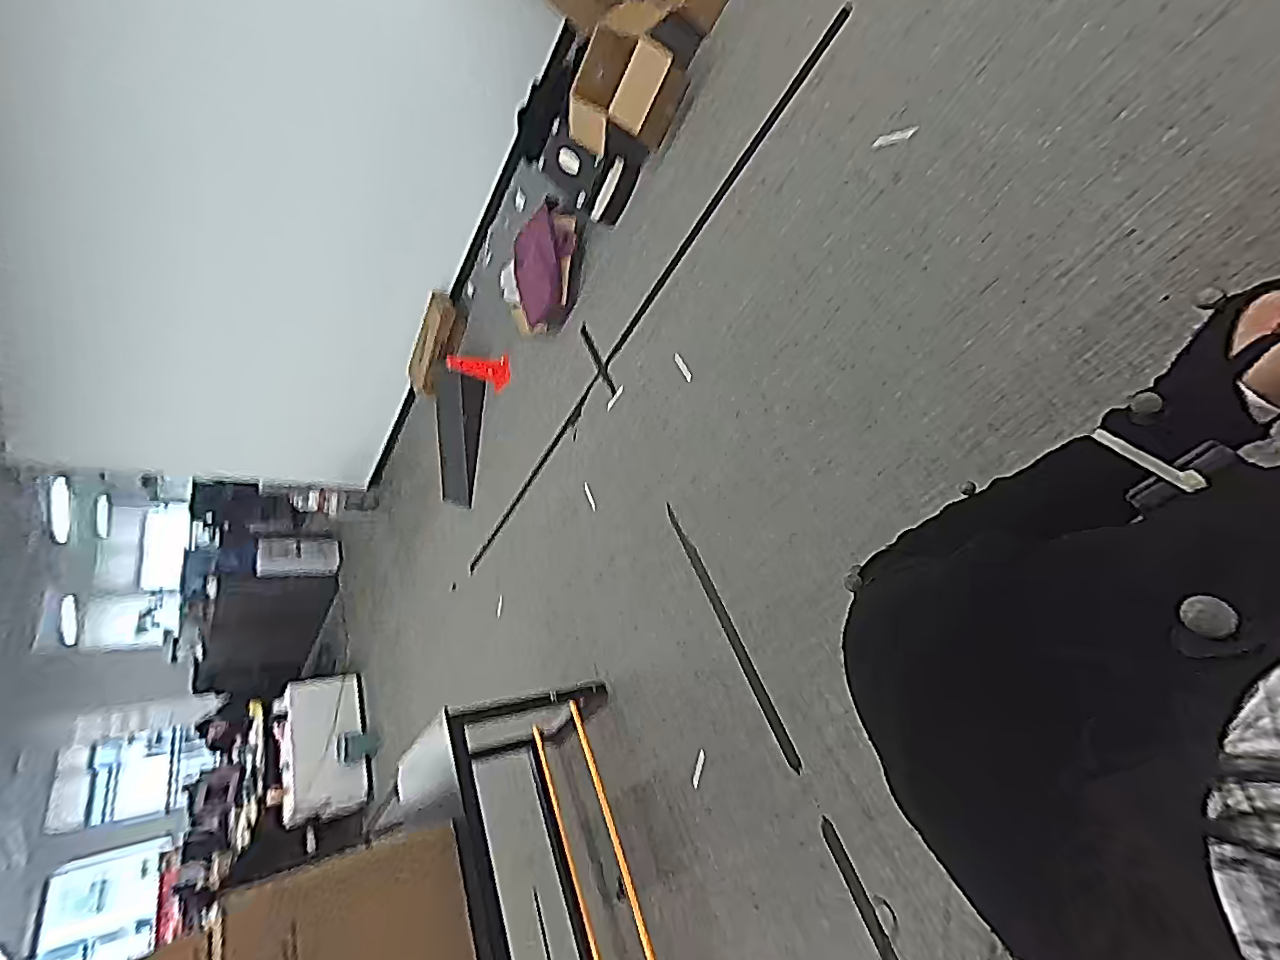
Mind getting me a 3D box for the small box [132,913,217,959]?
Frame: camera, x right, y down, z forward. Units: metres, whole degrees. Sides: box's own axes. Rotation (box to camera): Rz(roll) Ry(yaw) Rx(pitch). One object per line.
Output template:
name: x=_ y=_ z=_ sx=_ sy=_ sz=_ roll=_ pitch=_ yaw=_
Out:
small box: x=-1.247 y=1.300 z=1.445 sx=0.179 sy=0.176 sz=0.168 roll=-48 pitch=54 yaw=35
